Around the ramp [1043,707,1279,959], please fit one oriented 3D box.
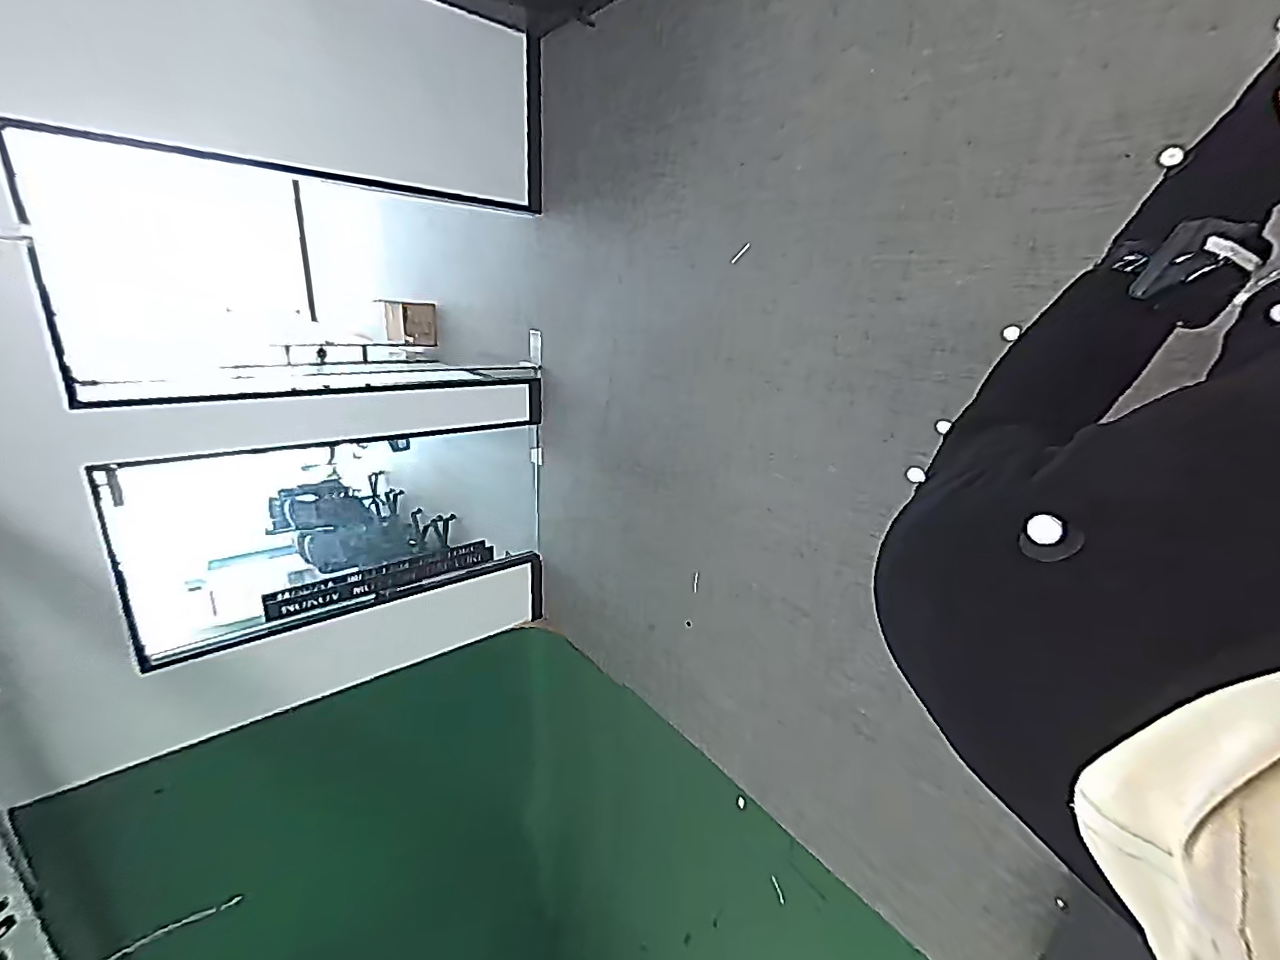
[{"bbox_3d":[1.284,1.078,1.219,0.509,0.206,0.991,21,115,48],"label":"ramp"}]
